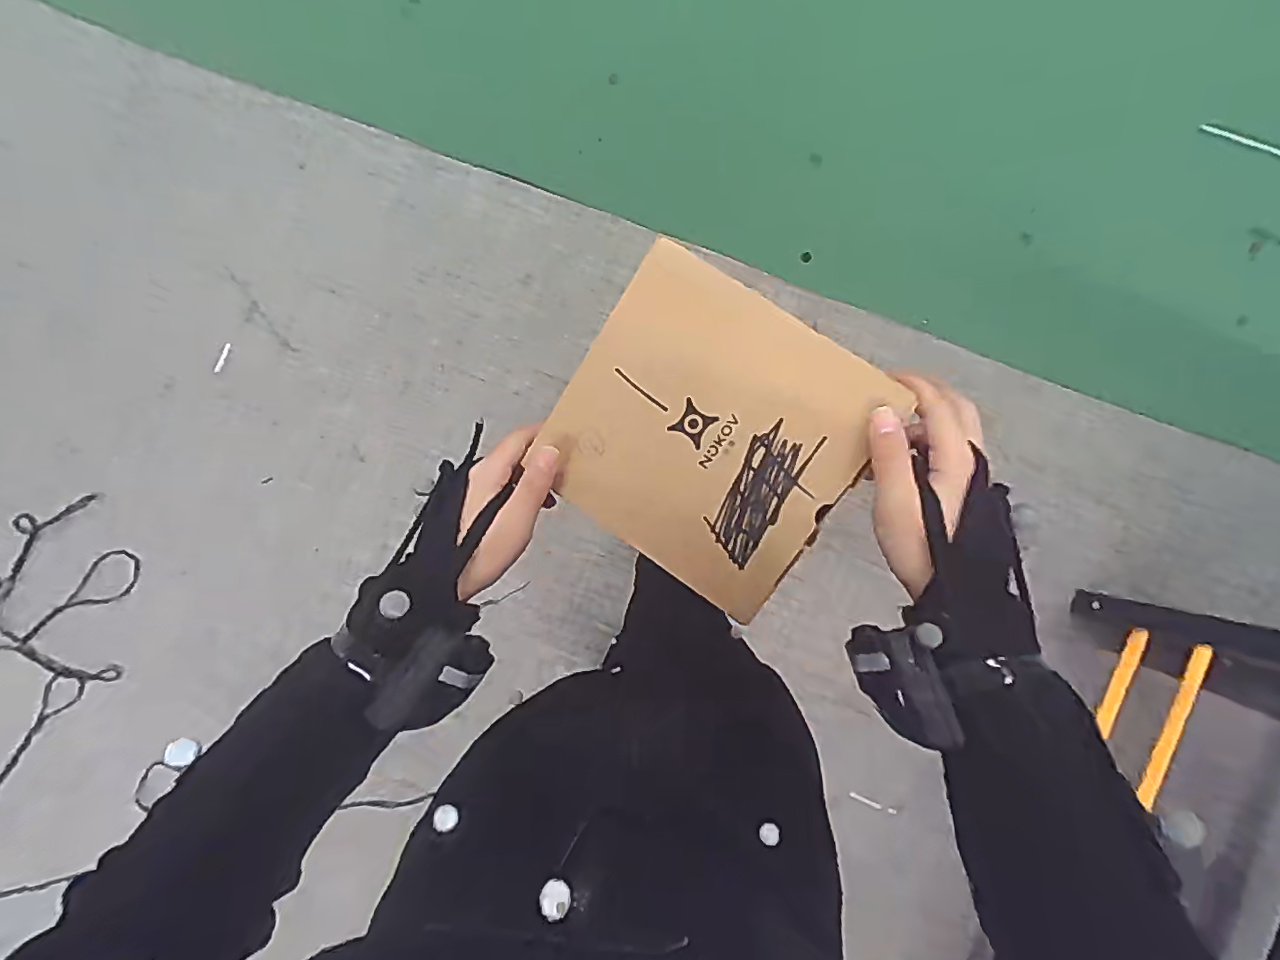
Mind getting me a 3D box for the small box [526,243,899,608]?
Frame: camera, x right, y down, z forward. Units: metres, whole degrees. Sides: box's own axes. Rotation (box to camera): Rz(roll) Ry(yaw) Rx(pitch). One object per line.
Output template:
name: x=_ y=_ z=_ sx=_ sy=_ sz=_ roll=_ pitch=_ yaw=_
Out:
small box: x=0.053 y=-0.040 z=0.411 sx=0.179 sy=0.176 sz=0.168 roll=35 pitch=101 yaw=7
